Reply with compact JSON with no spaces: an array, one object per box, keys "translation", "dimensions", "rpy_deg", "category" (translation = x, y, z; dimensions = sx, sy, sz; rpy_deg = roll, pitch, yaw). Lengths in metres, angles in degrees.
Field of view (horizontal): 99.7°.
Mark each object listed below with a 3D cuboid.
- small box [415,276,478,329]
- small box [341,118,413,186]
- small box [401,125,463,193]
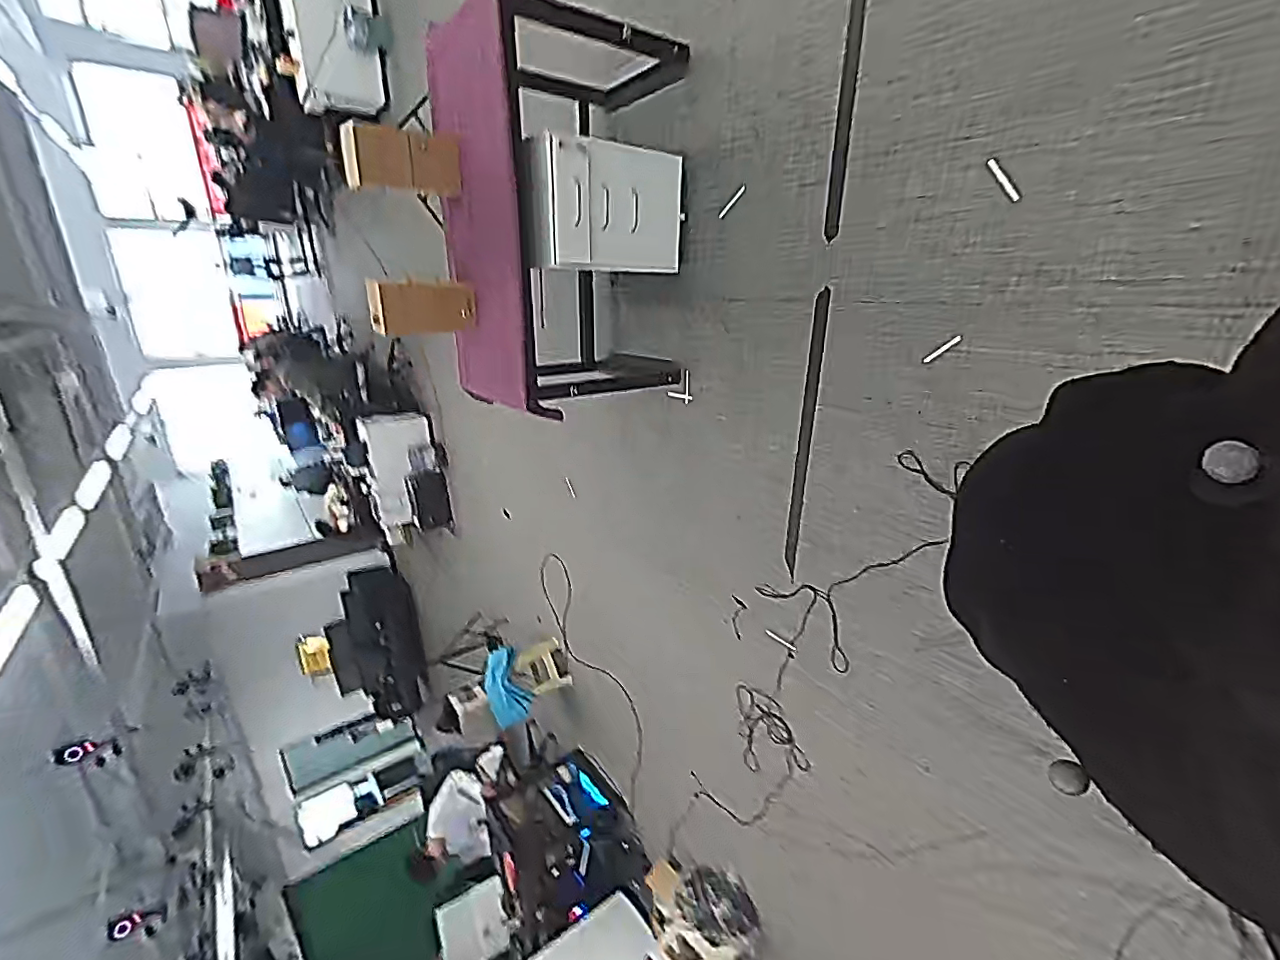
[{"translation":[-0.719,-0.664,2.016],"dimensions":[0.179,0.176,0.168],"rpy_deg":[29,126,43],"category":"small box"},{"translation":[-0.860,-1.071,1.777],"dimensions":[0.168,0.176,0.179],"rpy_deg":[29,125,45],"category":"small box"},{"translation":[-0.729,-1.105,1.870],"dimensions":[0.168,0.176,0.179],"rpy_deg":[28,124,46],"category":"small box"}]
